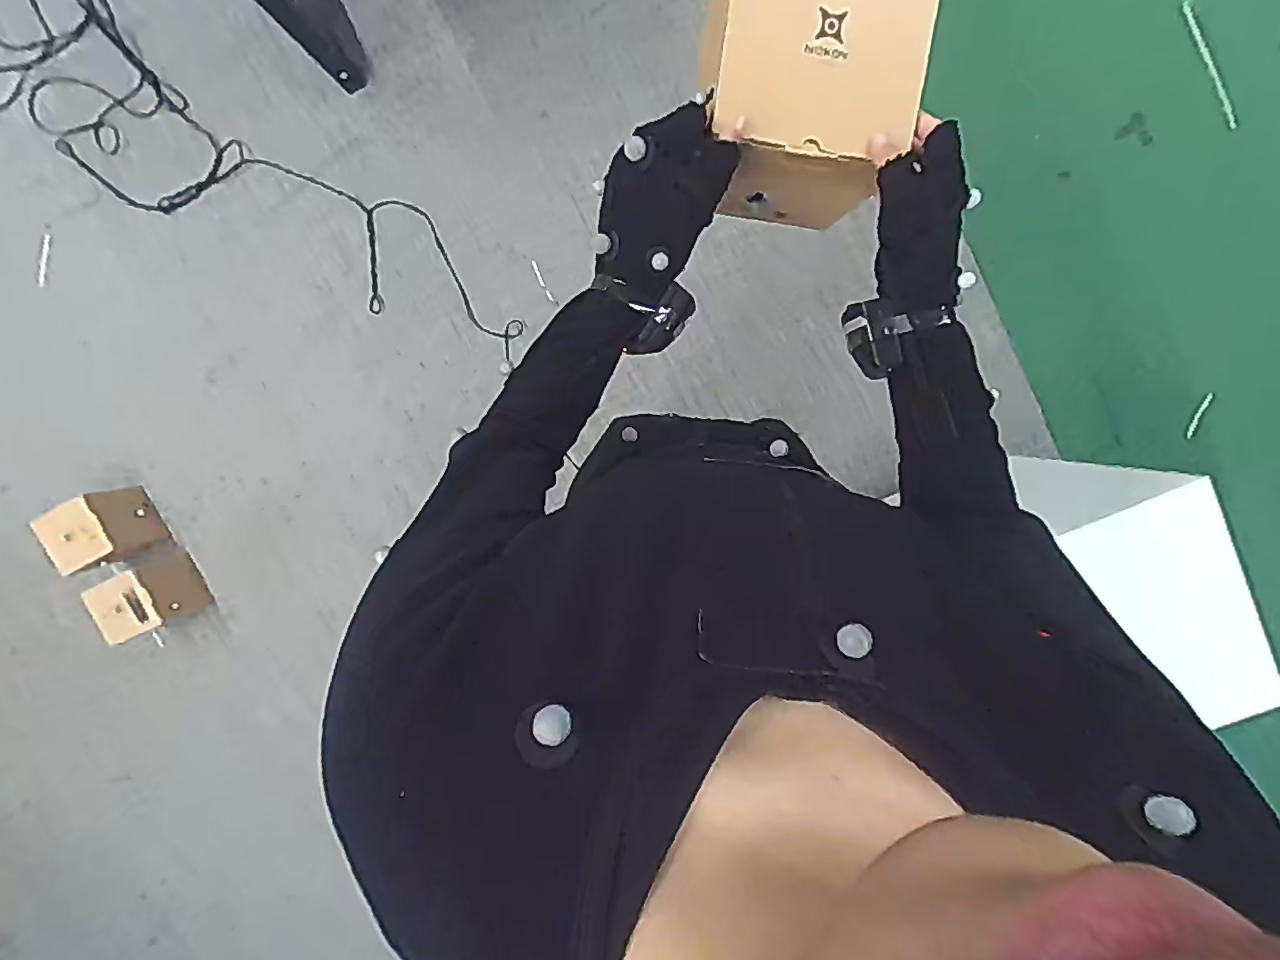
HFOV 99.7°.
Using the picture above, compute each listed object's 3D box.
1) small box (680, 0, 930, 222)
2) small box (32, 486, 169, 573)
[{"bbox_3d":[0.135,-0.364,0.498,0.168,0.176,0.179,6,99,-5],"label":"small box"},{"bbox_3d":[-1.475,0.130,1.489,0.179,0.176,0.168,-26,95,6],"label":"small box"}]
